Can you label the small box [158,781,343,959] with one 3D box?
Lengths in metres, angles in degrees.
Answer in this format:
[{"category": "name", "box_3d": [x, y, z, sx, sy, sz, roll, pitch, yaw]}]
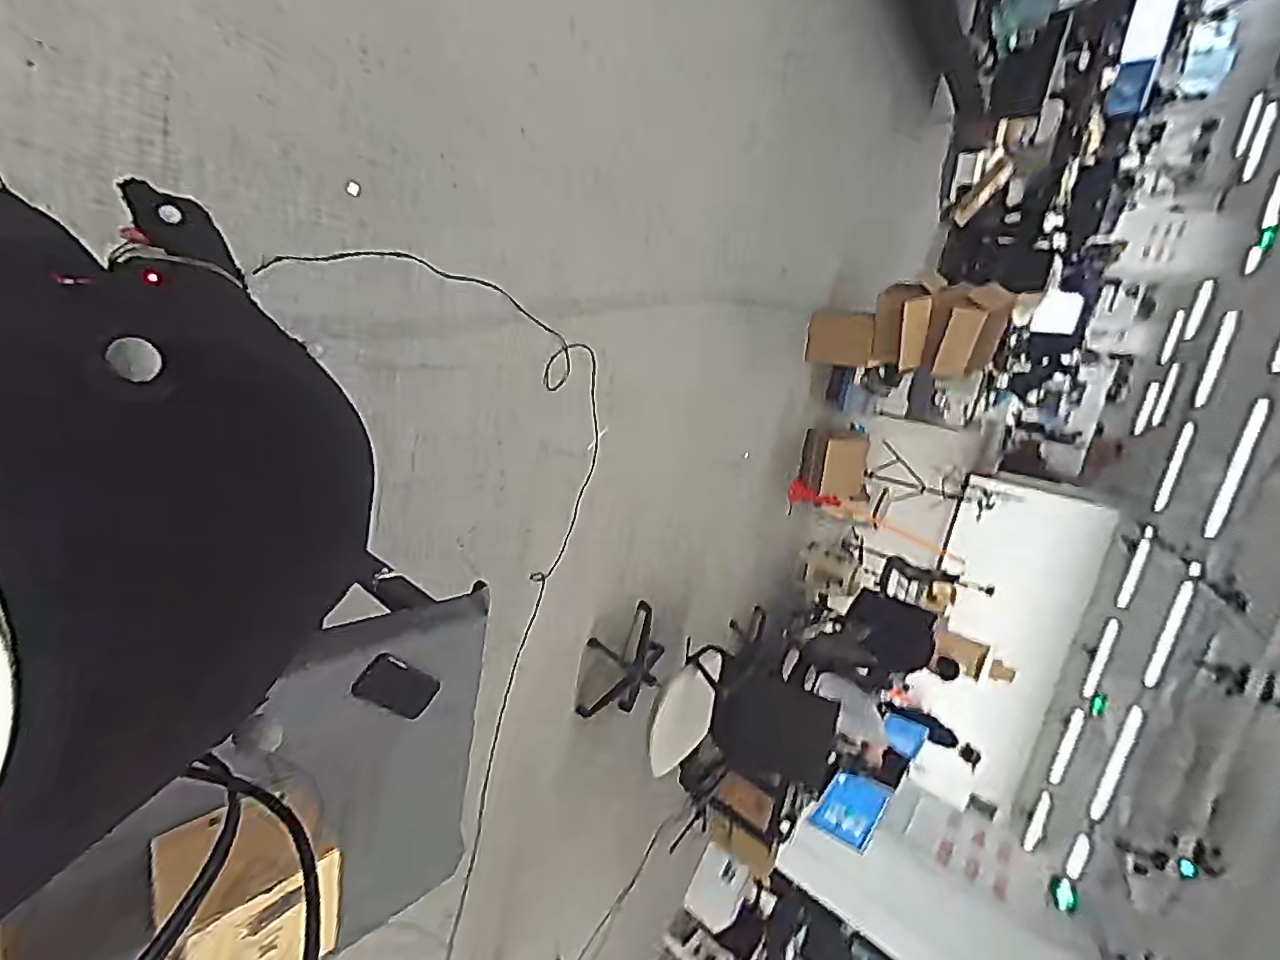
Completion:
[{"category": "small box", "box_3d": [-0.531, 0.551, 0.738, 0.168, 0.176, 0.179, -8, 113, -51]}]
